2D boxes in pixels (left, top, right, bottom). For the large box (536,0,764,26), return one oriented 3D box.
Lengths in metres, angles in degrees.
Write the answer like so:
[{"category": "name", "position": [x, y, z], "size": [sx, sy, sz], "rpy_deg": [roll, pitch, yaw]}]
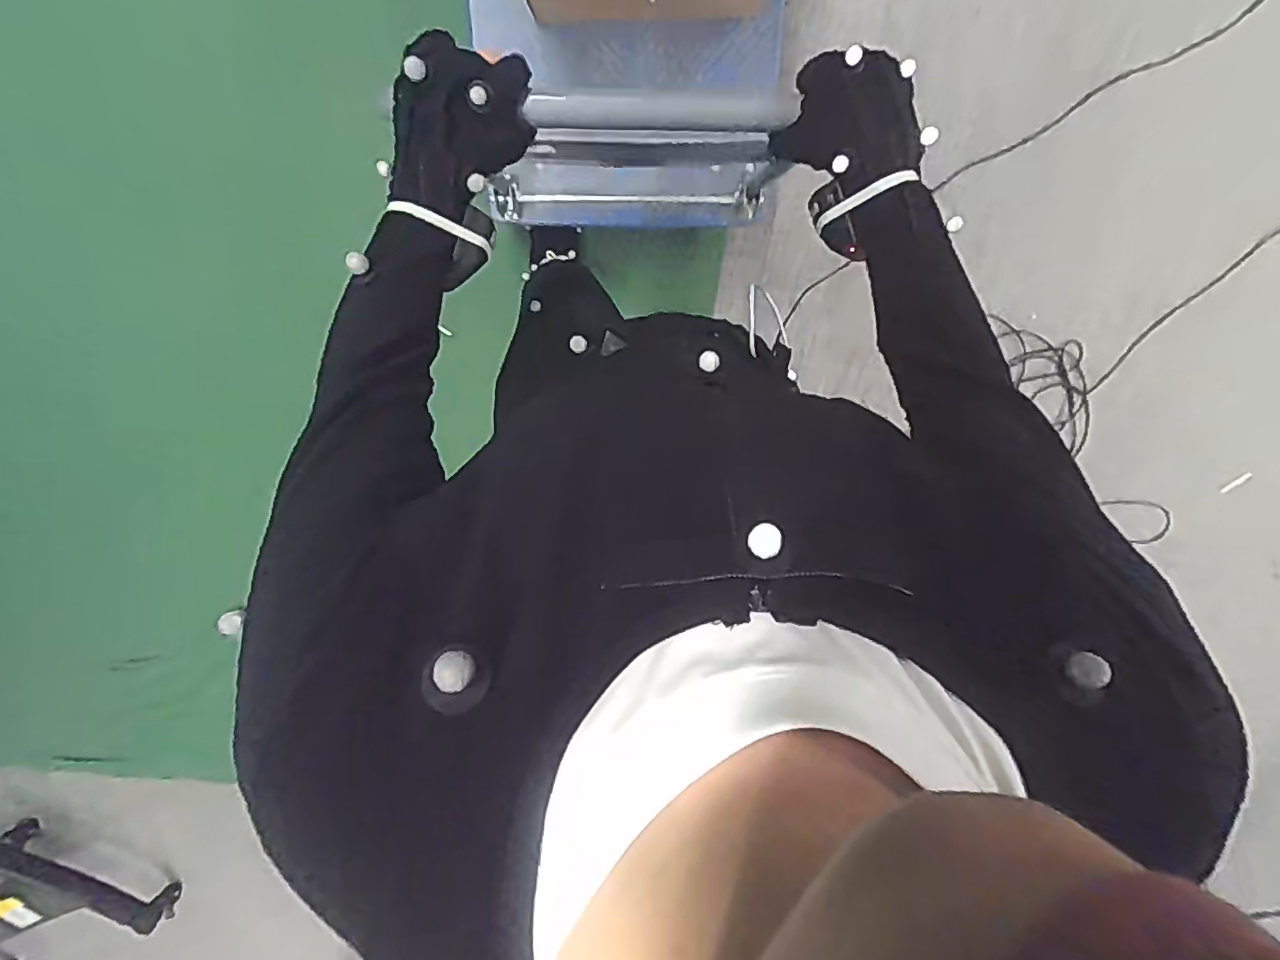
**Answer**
[{"category": "large box", "position": [0.017, -0.924, 0.801], "size": [0.408, 0.320, 0.320], "rpy_deg": [-3, 114, 0]}]
